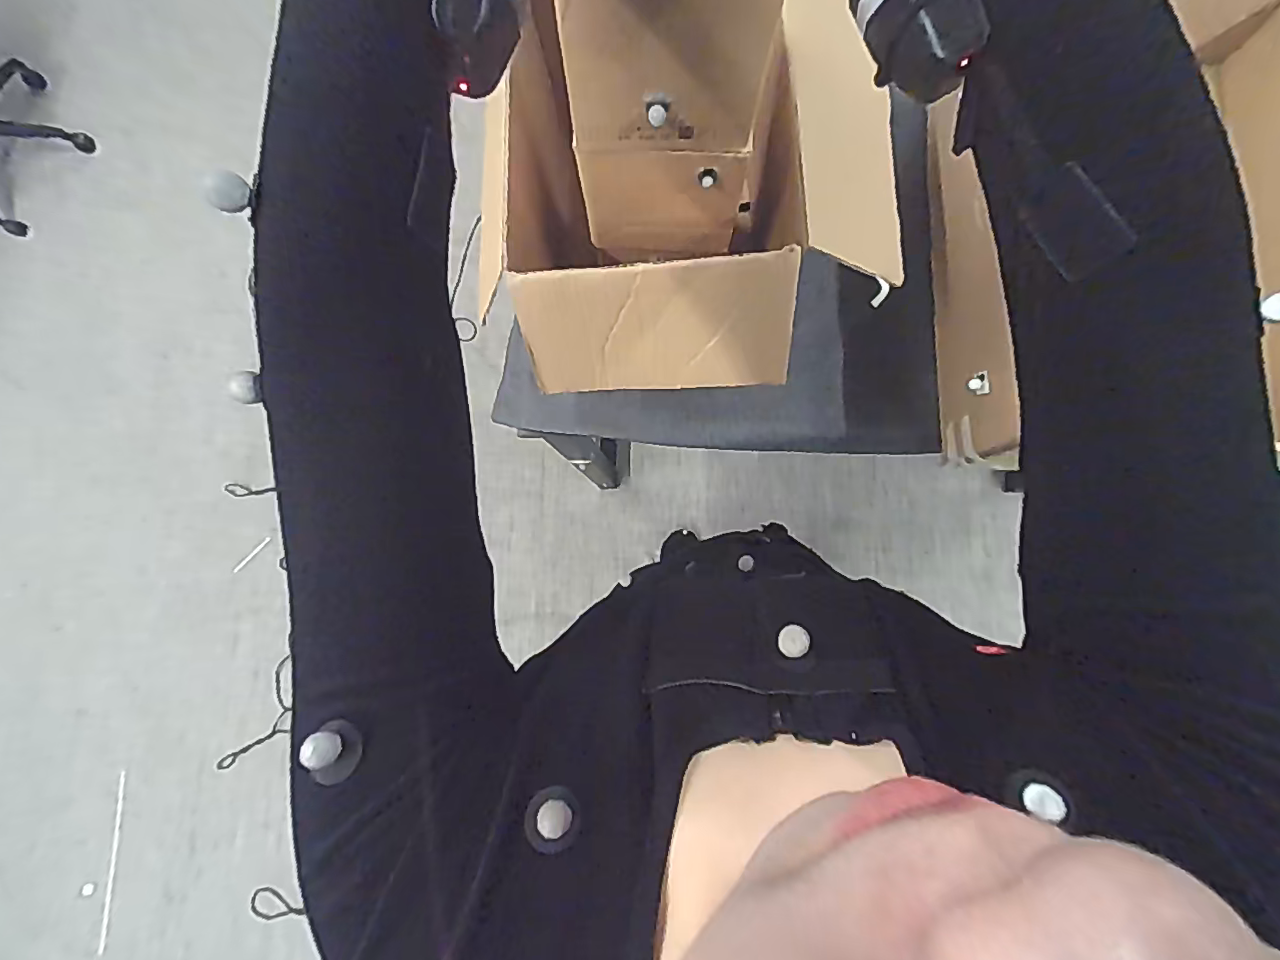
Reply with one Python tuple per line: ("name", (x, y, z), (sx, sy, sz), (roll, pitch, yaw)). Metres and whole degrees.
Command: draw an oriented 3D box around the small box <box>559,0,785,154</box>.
("small box", (0.021, -0.412, 0.453), (0.168, 0.176, 0.179), (-1, 81, 1))
